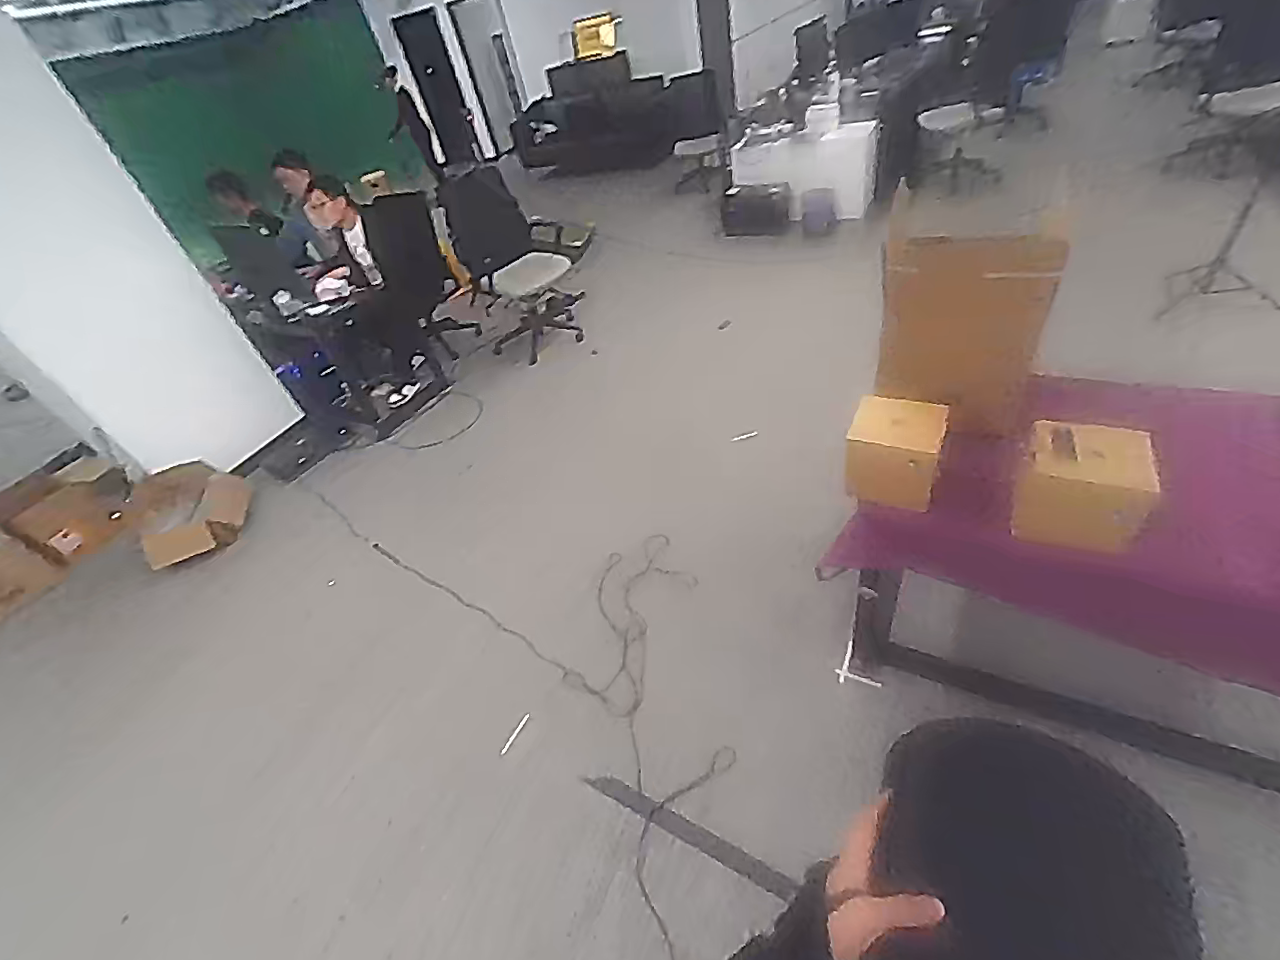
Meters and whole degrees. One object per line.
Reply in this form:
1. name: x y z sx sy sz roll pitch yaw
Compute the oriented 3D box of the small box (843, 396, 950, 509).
1. small box: 0.554 -0.060 1.181 0.179 0.176 0.168 14 49 28
